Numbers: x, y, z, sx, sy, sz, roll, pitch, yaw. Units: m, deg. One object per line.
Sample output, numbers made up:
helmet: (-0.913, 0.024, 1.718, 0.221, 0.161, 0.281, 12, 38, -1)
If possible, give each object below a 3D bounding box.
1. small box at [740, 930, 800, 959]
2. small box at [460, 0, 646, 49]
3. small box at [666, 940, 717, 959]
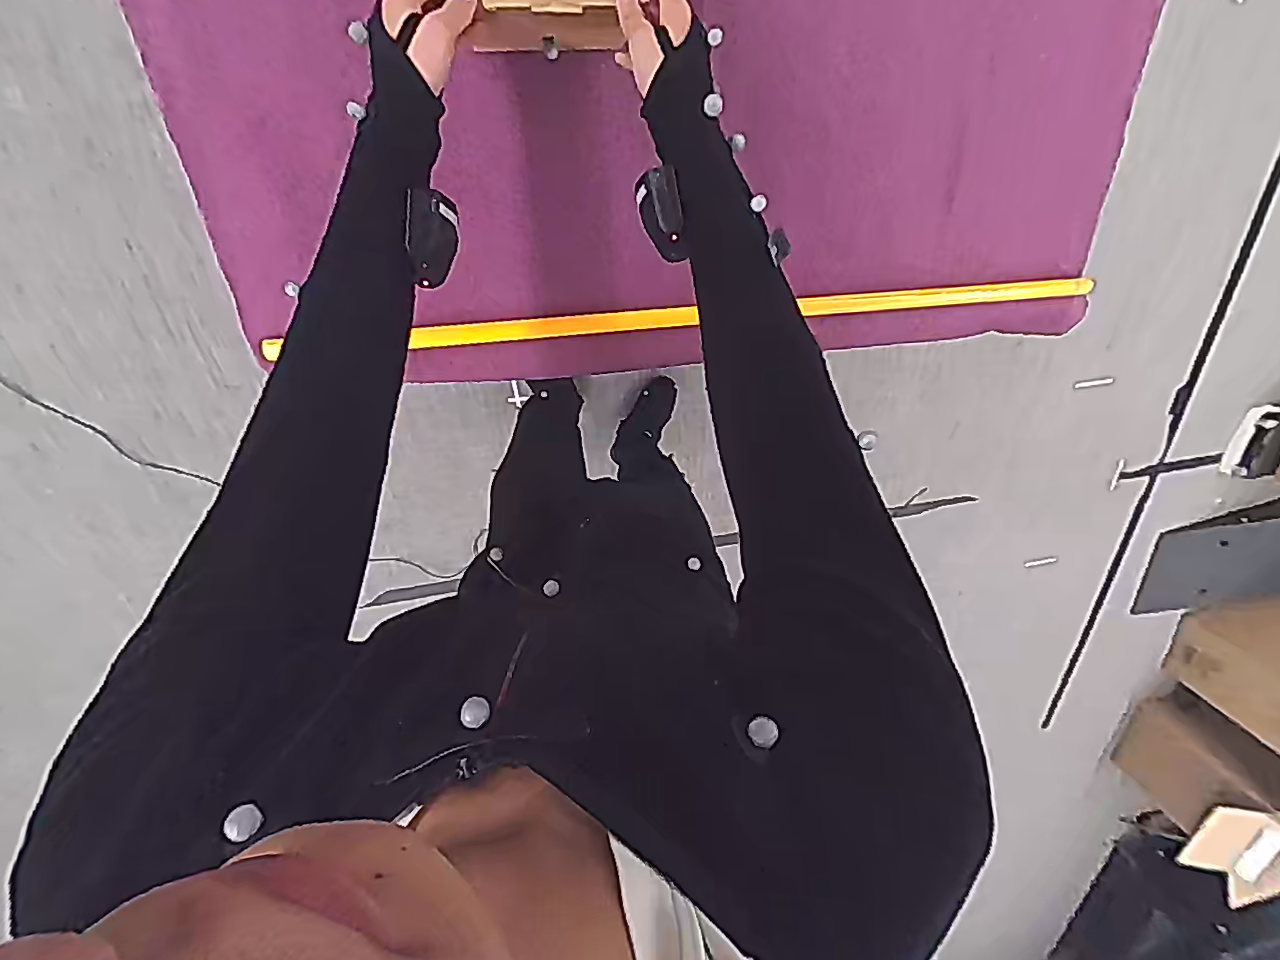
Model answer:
small box: (0.497, 1.836, 2.042, 0.168, 0.176, 0.179, 6, 117, -16)
small box: (-0.092, -0.520, 0.490, 0.168, 0.176, 0.179, -7, 120, -8)
small box: (0.190, 1.823, 1.965, 0.179, 0.176, 0.168, 1, 118, -15)
